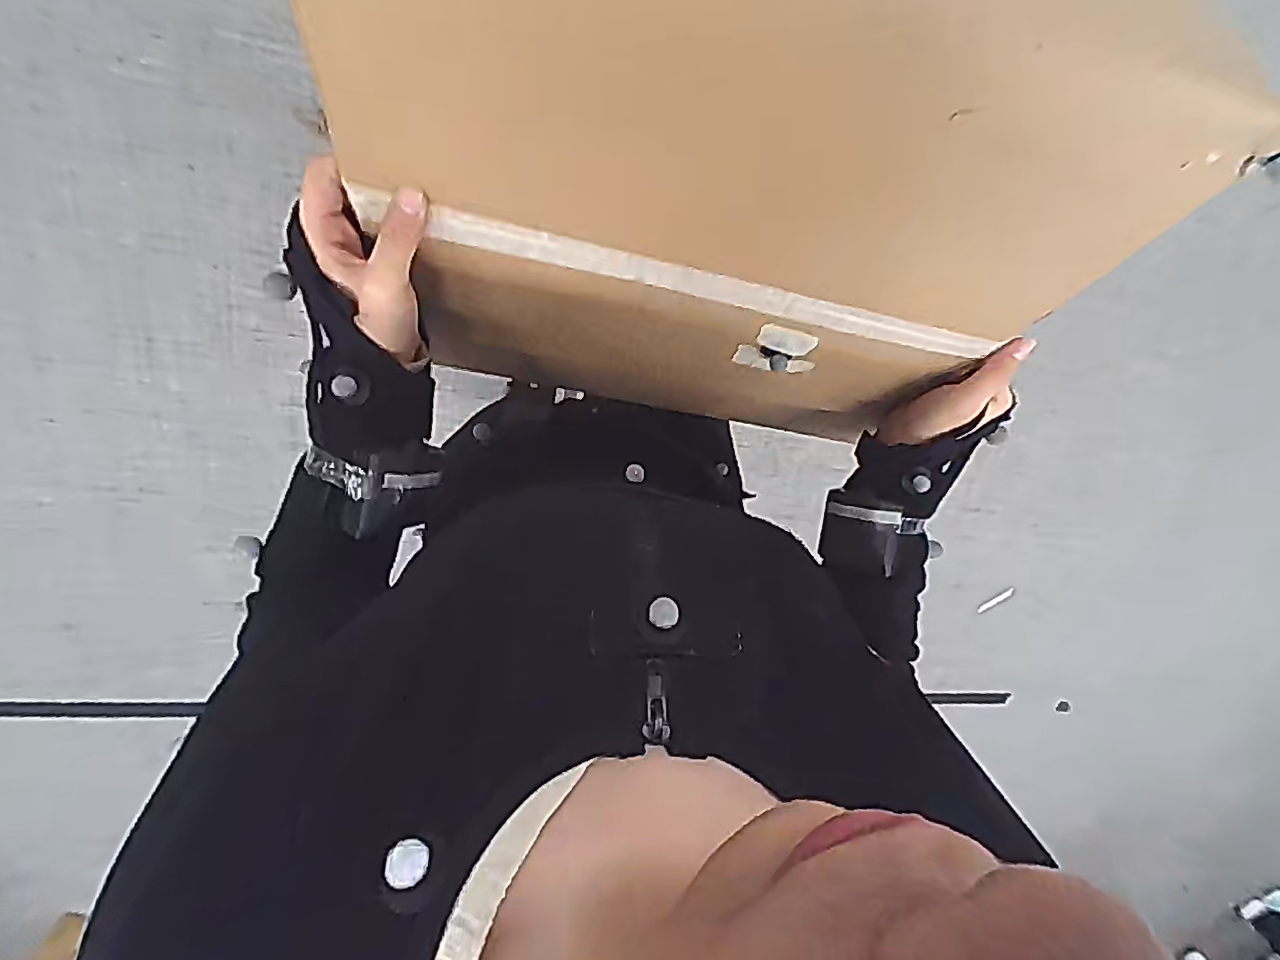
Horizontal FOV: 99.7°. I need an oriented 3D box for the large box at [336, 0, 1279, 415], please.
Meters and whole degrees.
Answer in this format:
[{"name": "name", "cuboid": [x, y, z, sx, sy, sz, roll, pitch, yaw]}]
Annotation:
[{"name": "large box", "cuboid": [0.065, -0.277, 0.362, 0.408, 0.320, 0.320, 8, 68, -11]}]
